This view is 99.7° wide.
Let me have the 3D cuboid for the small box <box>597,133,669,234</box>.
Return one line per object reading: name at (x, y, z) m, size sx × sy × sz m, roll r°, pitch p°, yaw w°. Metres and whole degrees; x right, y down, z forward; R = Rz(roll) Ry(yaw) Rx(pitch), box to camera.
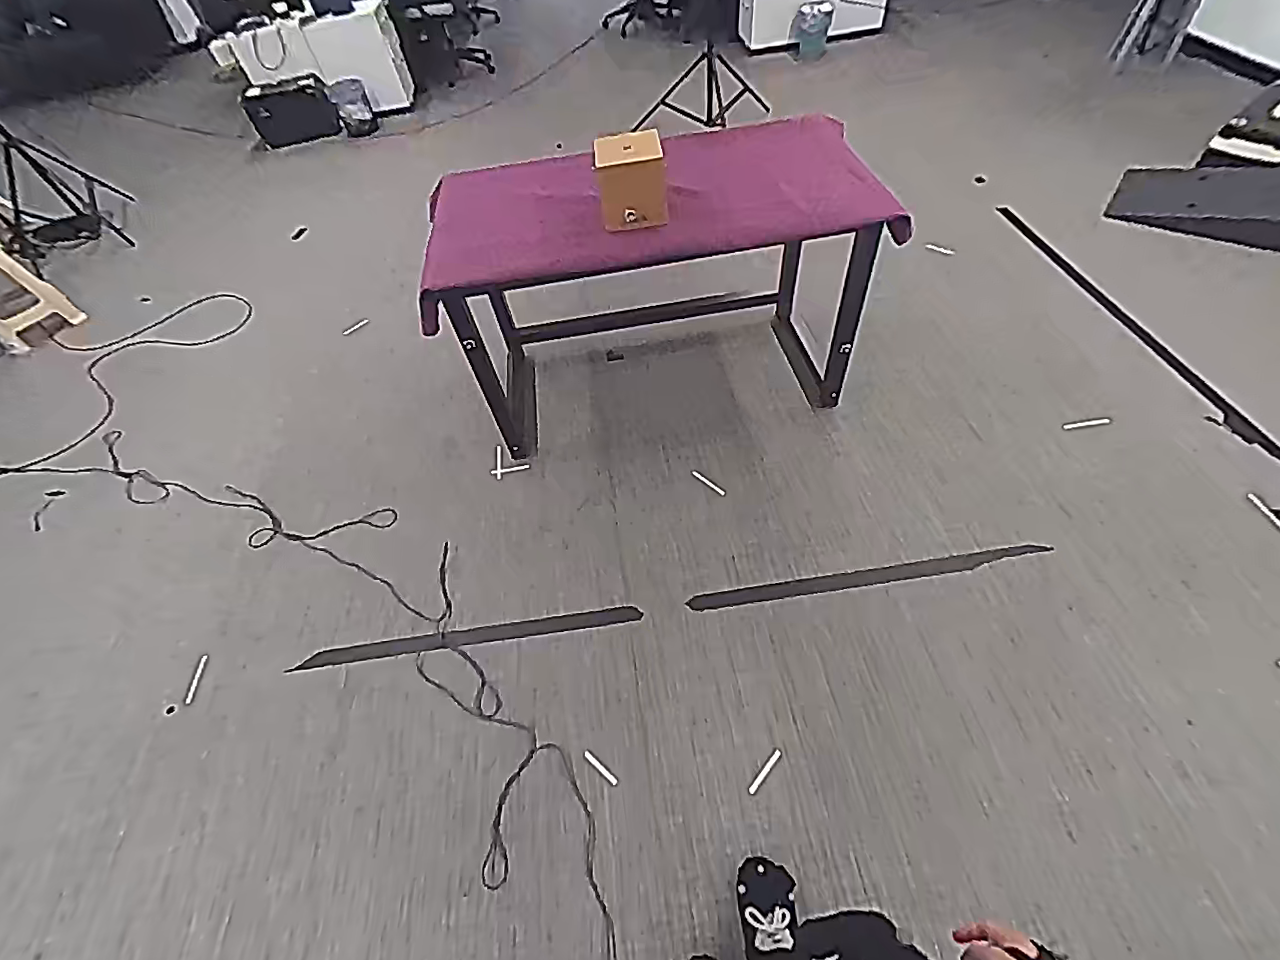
small box at (-0.017, -0.766, 1.401) m, size 0.168 × 0.176 × 0.179 m, roll -8°, pitch 53°, yaw 2°
